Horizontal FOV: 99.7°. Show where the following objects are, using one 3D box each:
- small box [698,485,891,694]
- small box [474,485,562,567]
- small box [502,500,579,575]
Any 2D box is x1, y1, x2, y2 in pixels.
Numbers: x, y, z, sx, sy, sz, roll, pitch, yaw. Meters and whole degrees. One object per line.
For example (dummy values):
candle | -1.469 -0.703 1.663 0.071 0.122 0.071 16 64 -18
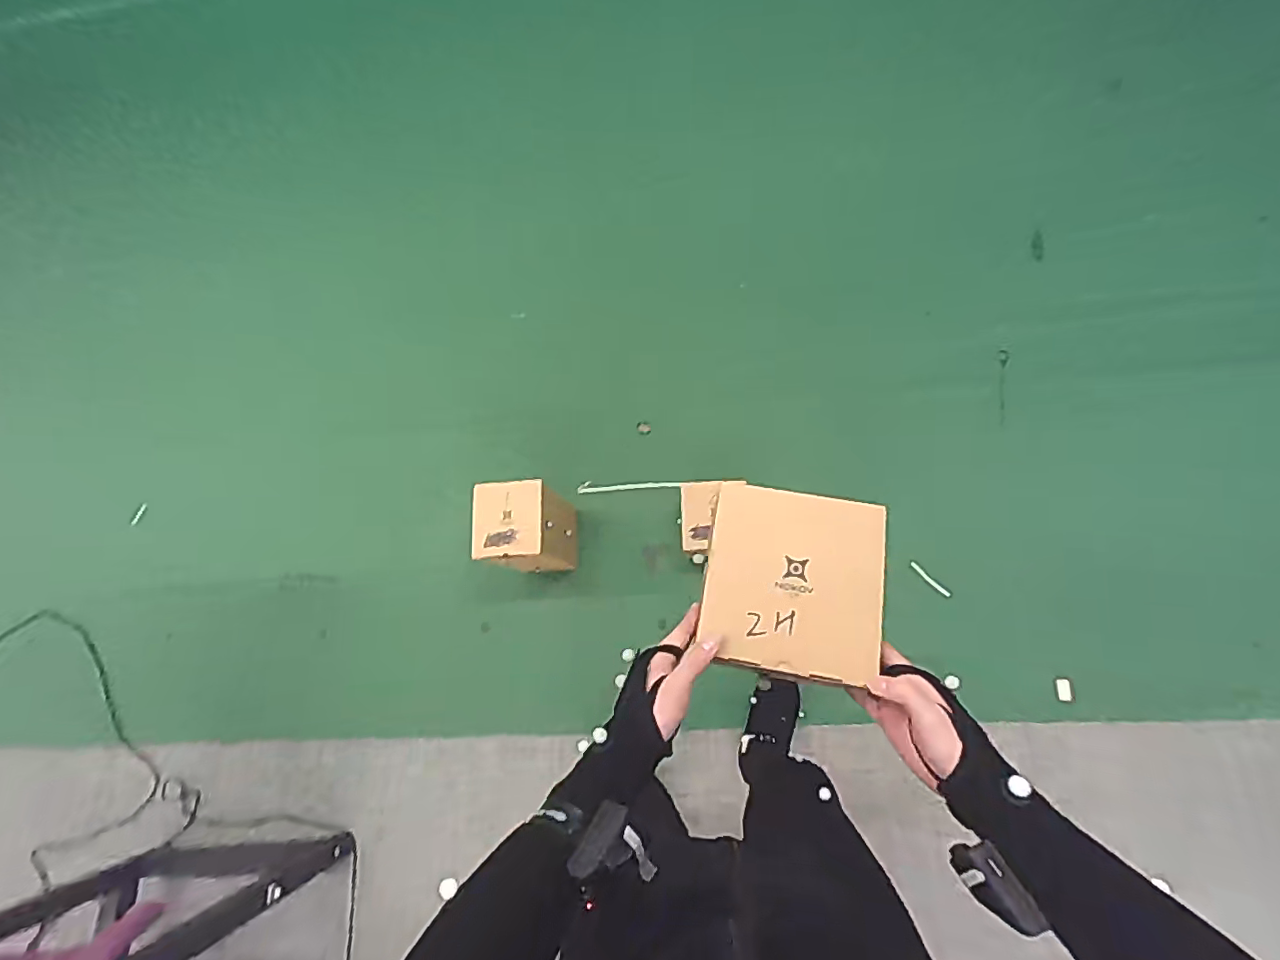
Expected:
small box | 0.156 0.126 0.589 0.168 0.176 0.179 9 70 7
small box | -0.288 0.118 1.310 0.168 0.176 0.179 -4 75 7
small box | -0.266 0.160 1.468 0.168 0.176 0.179 -4 75 7
